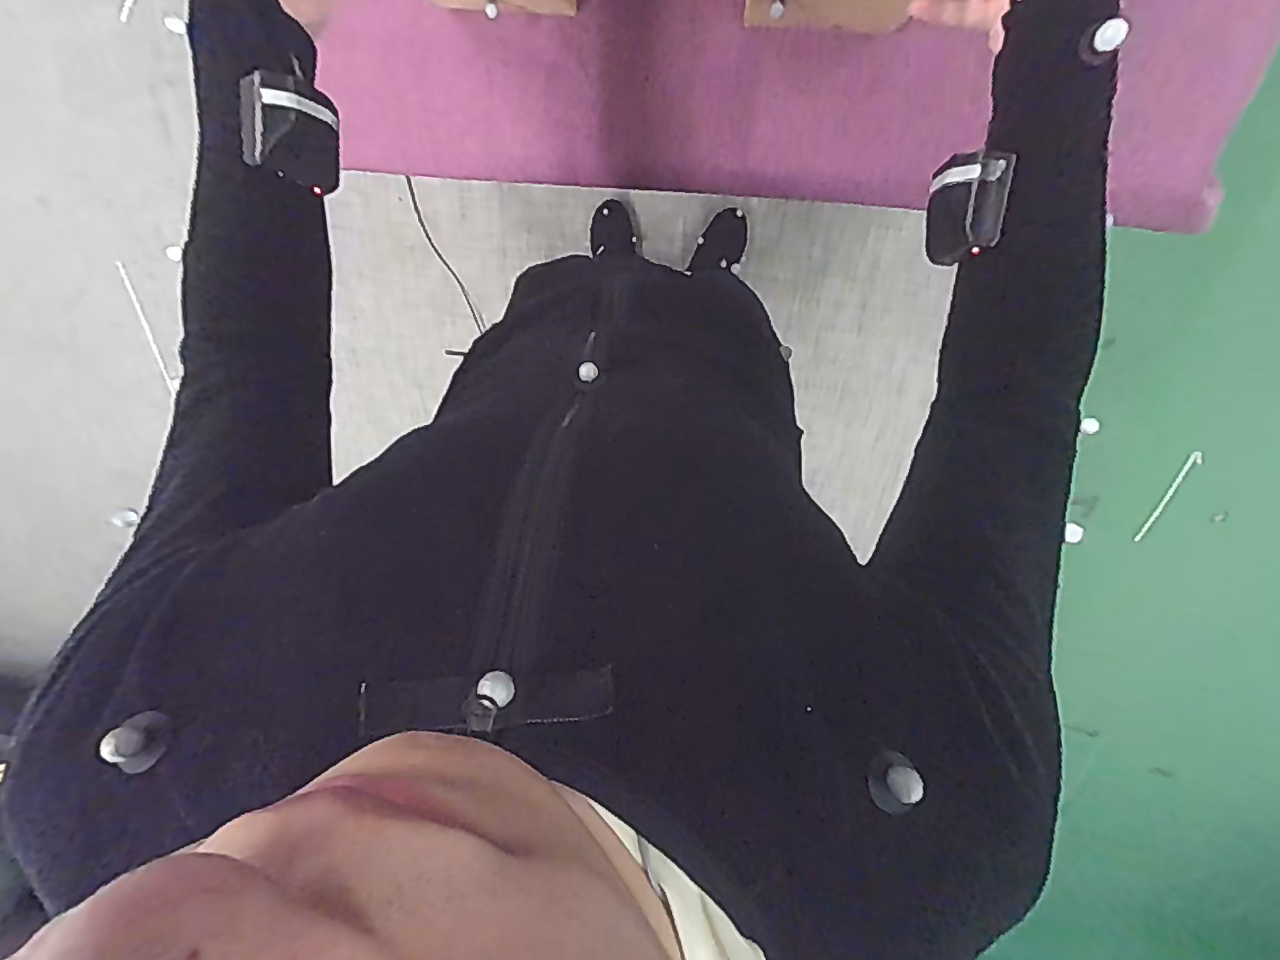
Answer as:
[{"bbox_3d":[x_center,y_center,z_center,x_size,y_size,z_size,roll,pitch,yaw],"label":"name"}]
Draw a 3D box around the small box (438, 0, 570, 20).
[{"bbox_3d":[-0.162,-0.581,0.520,0.168,0.176,0.179,7,120,4],"label":"small box"}]
